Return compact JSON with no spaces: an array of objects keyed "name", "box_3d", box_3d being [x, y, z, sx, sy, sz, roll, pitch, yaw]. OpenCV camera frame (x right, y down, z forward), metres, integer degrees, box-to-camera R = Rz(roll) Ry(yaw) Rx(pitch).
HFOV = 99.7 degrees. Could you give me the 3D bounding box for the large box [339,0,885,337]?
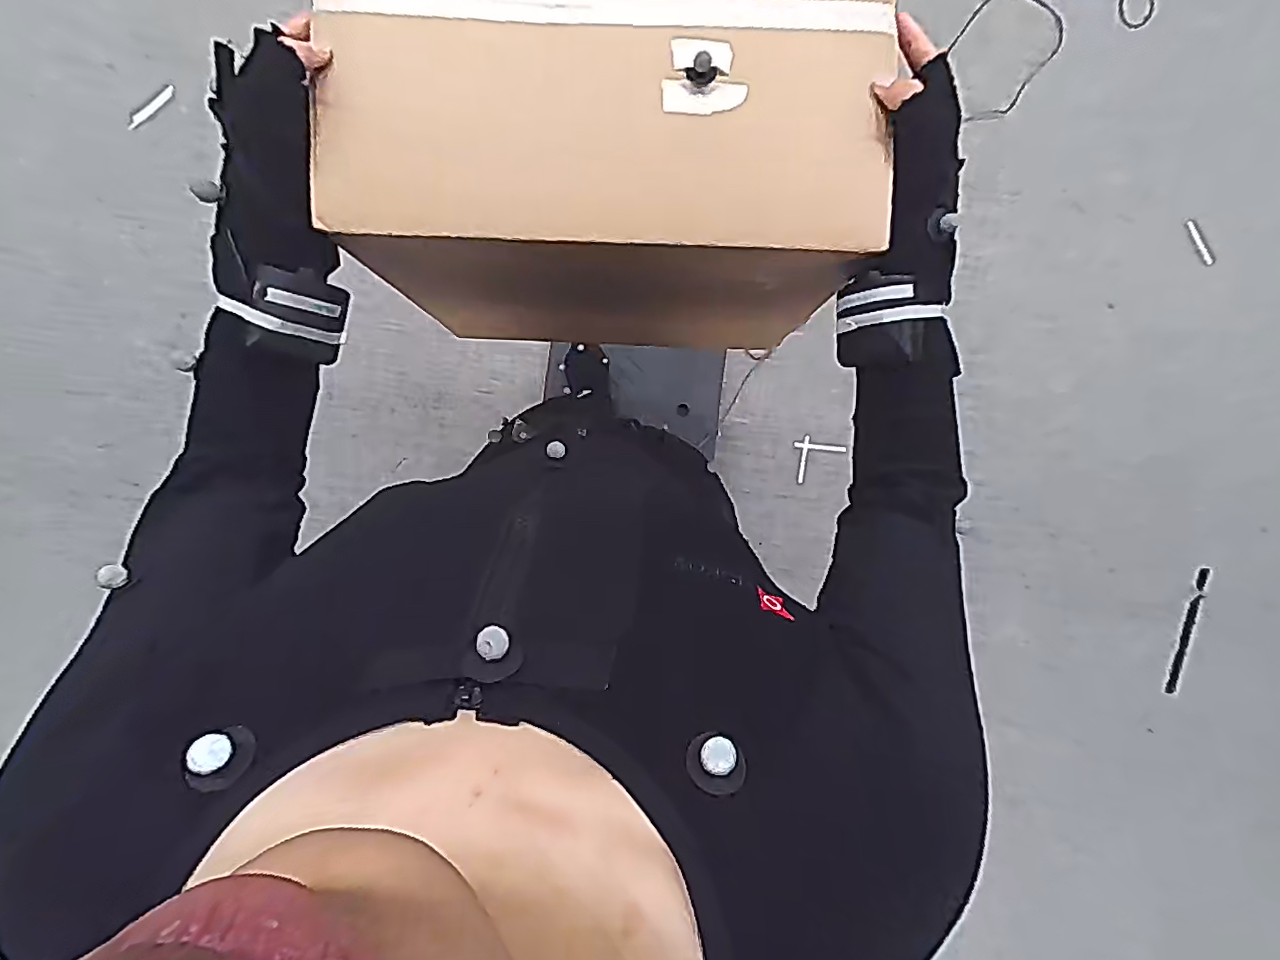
[{"name":"large box","box_3d":[-0.022,-0.337,0.543,0.408,0.320,0.320,2,91,-1]}]
